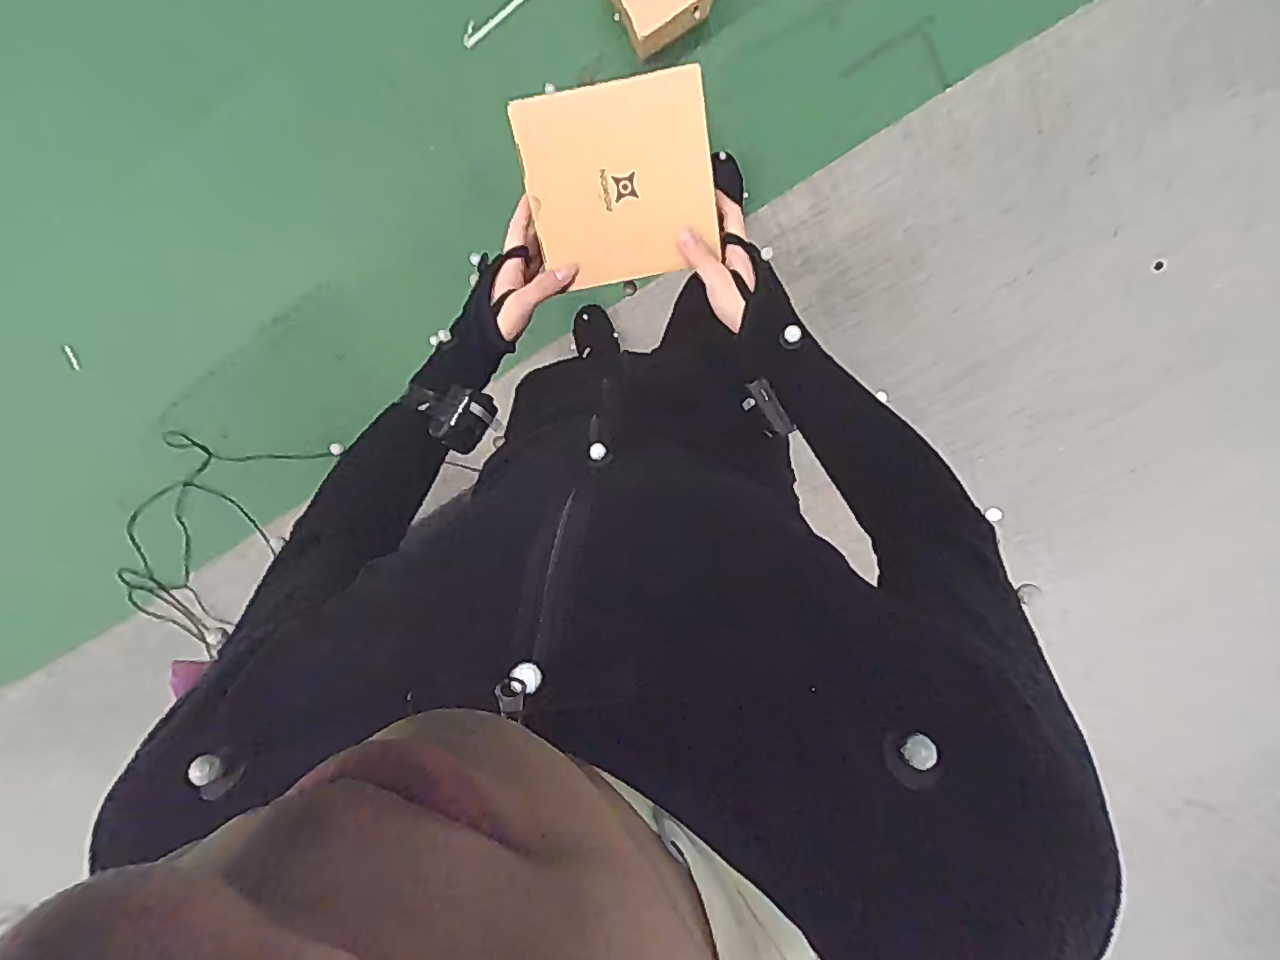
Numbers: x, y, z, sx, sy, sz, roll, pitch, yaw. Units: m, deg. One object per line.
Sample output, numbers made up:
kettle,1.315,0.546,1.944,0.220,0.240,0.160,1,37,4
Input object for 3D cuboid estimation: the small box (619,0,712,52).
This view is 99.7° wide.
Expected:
small box,0.045,-1.028,1.104,0.179,0.176,0.168,-26,112,13

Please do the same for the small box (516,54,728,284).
small box,-0.012,-0.316,0.575,0.179,0.176,0.168,-9,114,5
